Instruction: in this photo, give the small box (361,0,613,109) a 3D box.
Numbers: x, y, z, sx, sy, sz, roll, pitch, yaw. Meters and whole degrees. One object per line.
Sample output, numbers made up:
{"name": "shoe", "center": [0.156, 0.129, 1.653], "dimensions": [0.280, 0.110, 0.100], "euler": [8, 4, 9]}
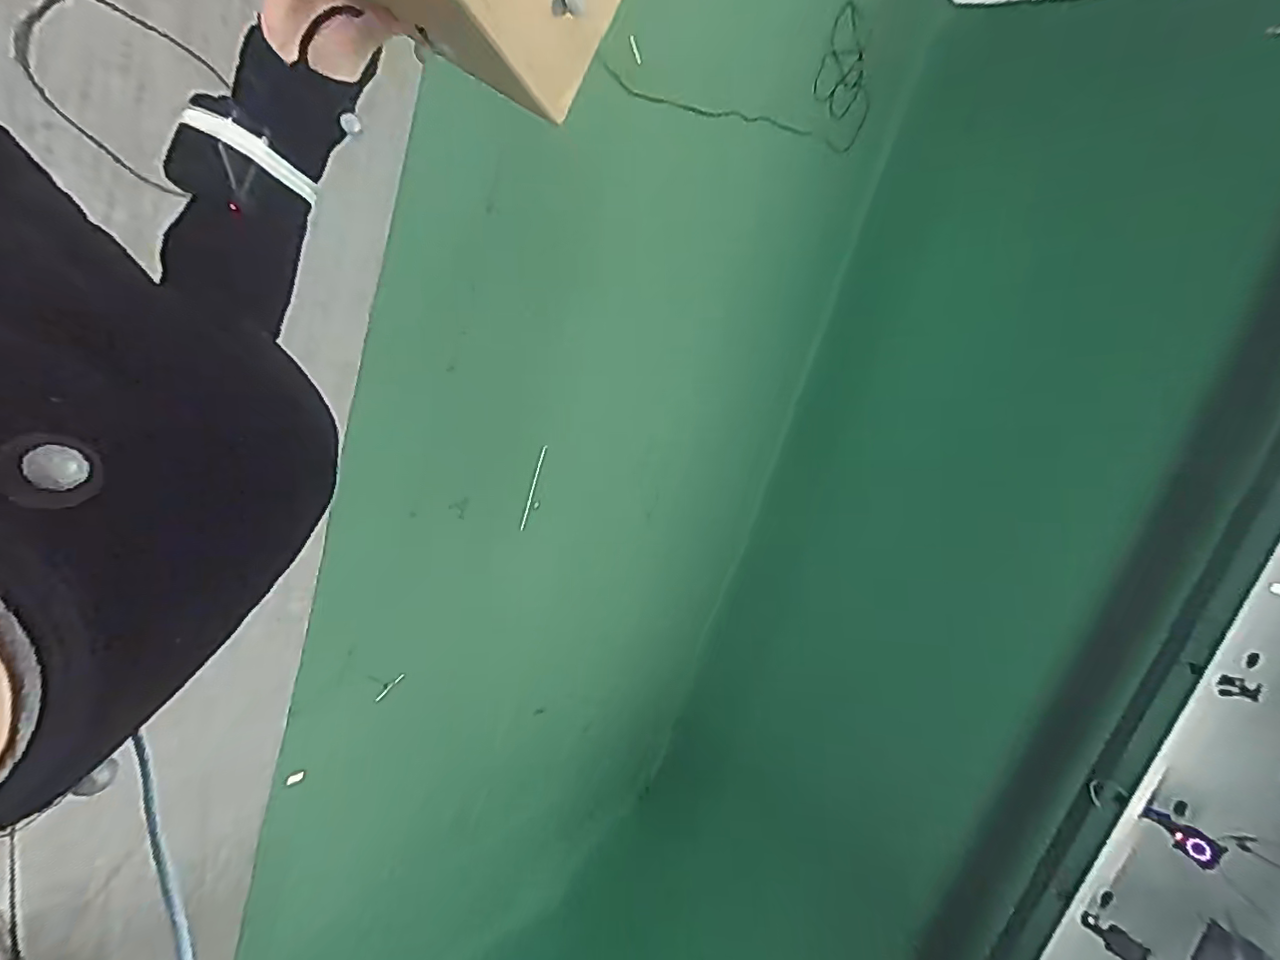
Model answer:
{"name": "small box", "center": [-0.100, -0.339, 0.269], "dimensions": [0.168, 0.179, 0.176], "euler": [-60, 180, 17]}
